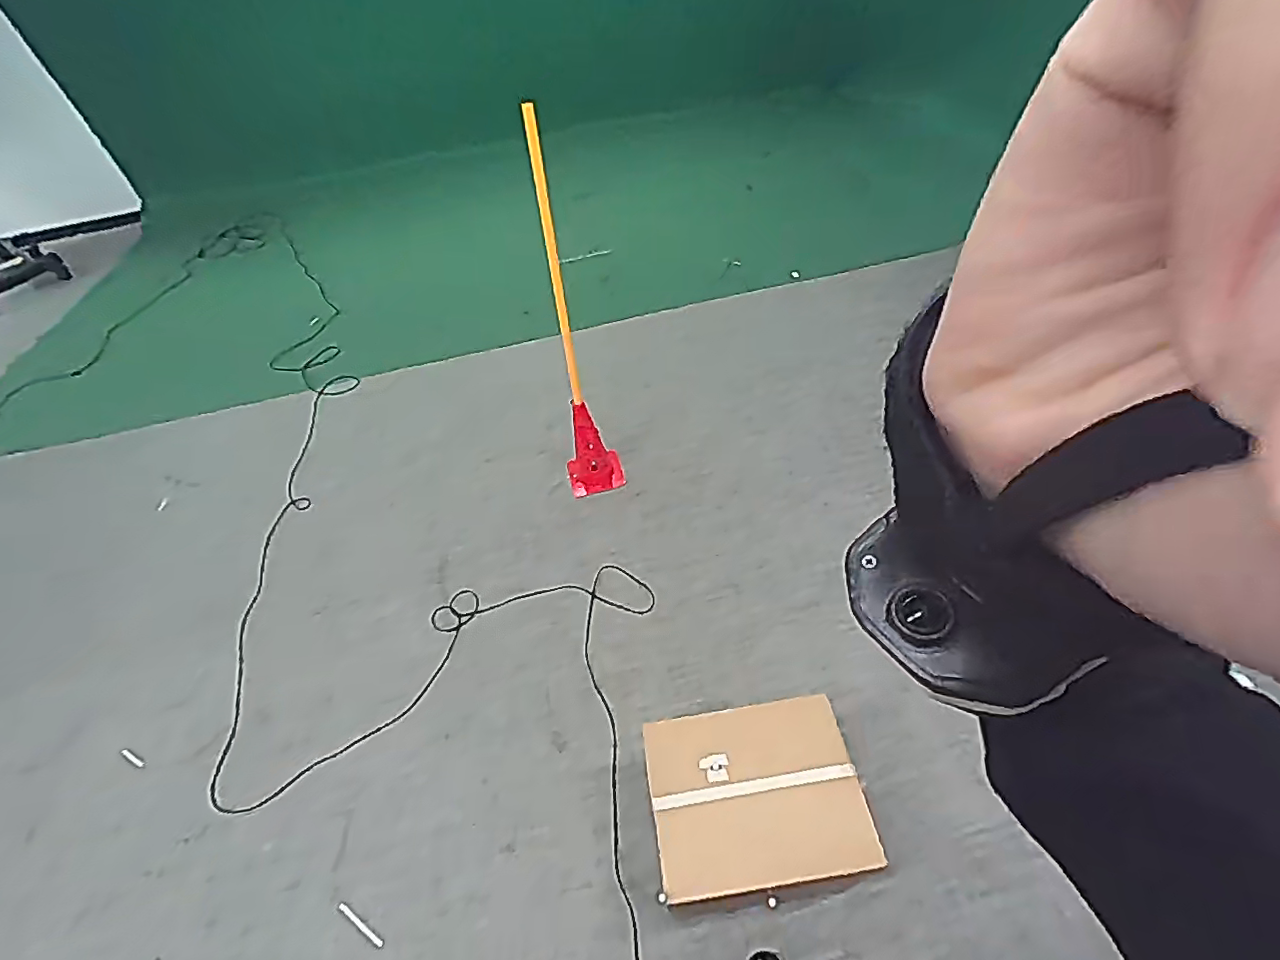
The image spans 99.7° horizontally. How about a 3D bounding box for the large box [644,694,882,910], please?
[{"bbox_3d":[0.241,0.705,1.178,0.408,0.320,0.320,-10,47,0],"label":"large box"}]
